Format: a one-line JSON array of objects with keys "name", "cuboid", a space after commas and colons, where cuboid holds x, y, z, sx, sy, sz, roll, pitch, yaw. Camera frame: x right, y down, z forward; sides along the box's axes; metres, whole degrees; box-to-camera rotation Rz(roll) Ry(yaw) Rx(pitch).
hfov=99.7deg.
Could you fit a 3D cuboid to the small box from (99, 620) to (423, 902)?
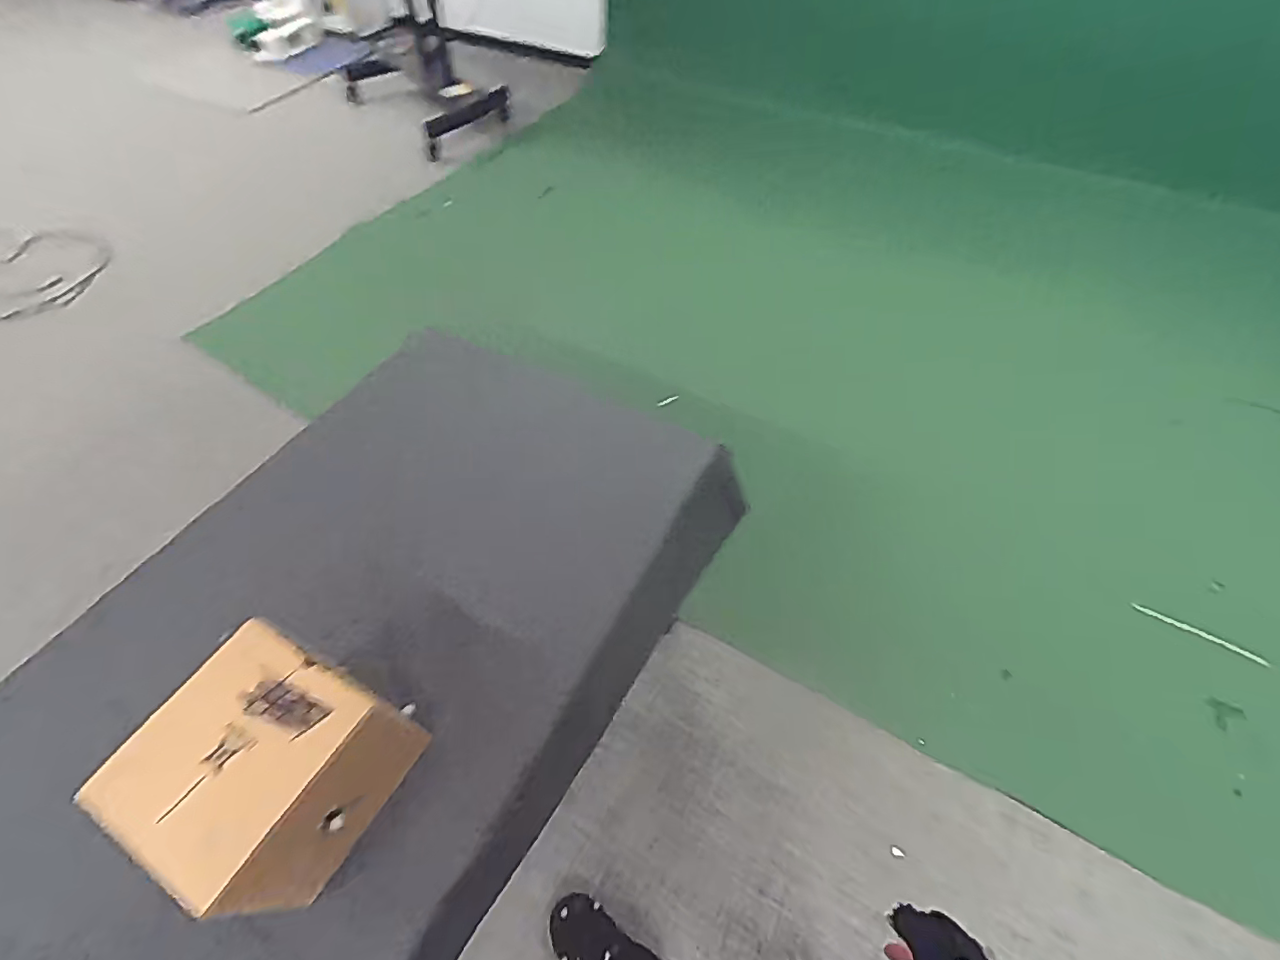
[{"name": "small box", "cuboid": [-0.344, 0.277, 0.540, 0.168, 0.176, 0.179, 22, 56, 14]}]
